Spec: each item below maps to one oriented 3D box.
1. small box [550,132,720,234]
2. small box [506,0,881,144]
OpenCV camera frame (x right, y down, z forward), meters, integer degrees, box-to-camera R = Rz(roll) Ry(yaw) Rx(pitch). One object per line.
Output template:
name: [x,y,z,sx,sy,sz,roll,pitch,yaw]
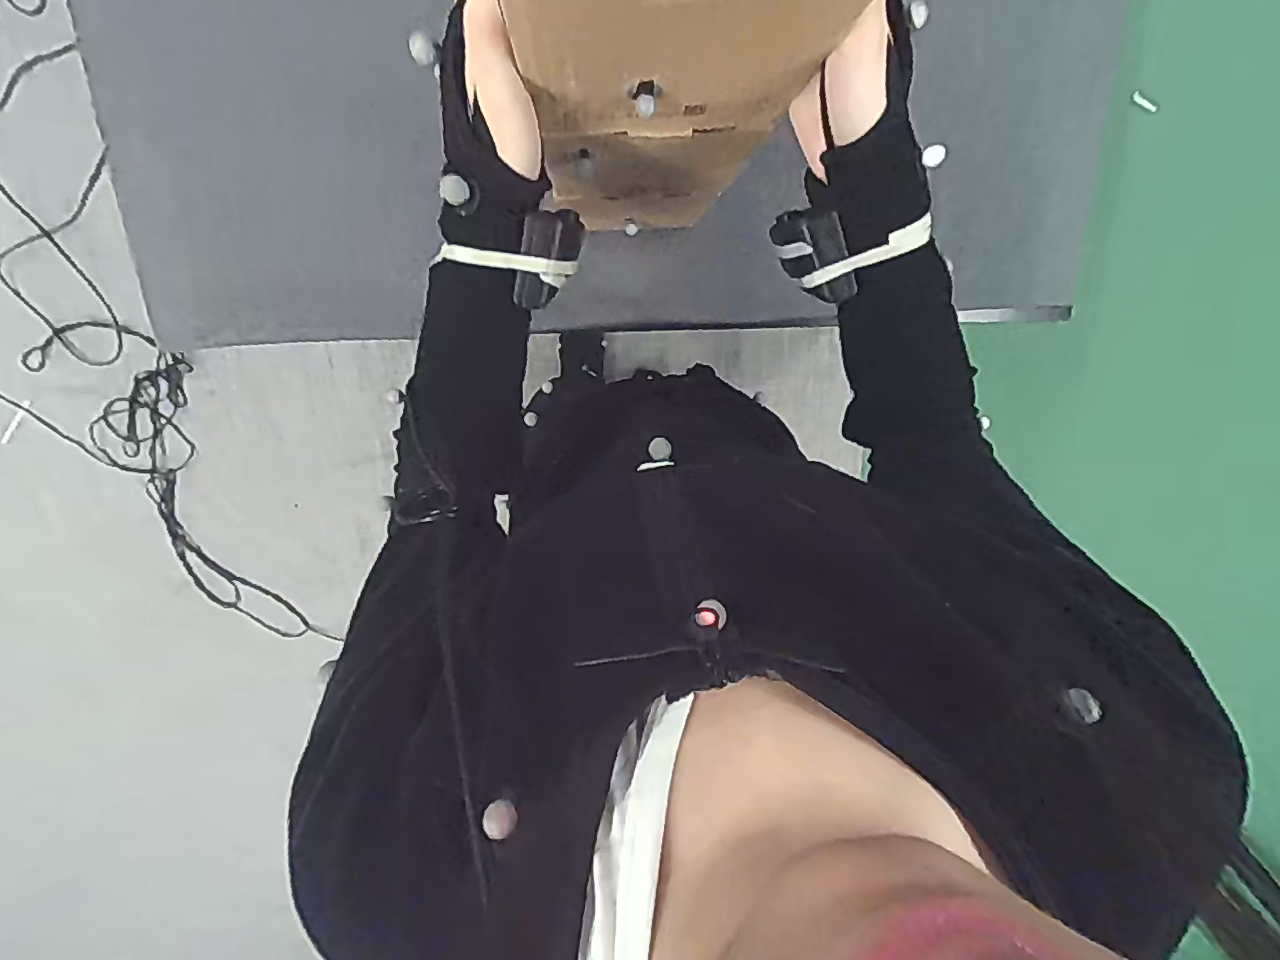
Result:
small box: [-0.013,-0.376,0.582,0.168,0.176,0.179,-4,105,-4]
small box: [0.011,-0.296,0.266,0.168,0.176,0.179,-7,106,-4]
